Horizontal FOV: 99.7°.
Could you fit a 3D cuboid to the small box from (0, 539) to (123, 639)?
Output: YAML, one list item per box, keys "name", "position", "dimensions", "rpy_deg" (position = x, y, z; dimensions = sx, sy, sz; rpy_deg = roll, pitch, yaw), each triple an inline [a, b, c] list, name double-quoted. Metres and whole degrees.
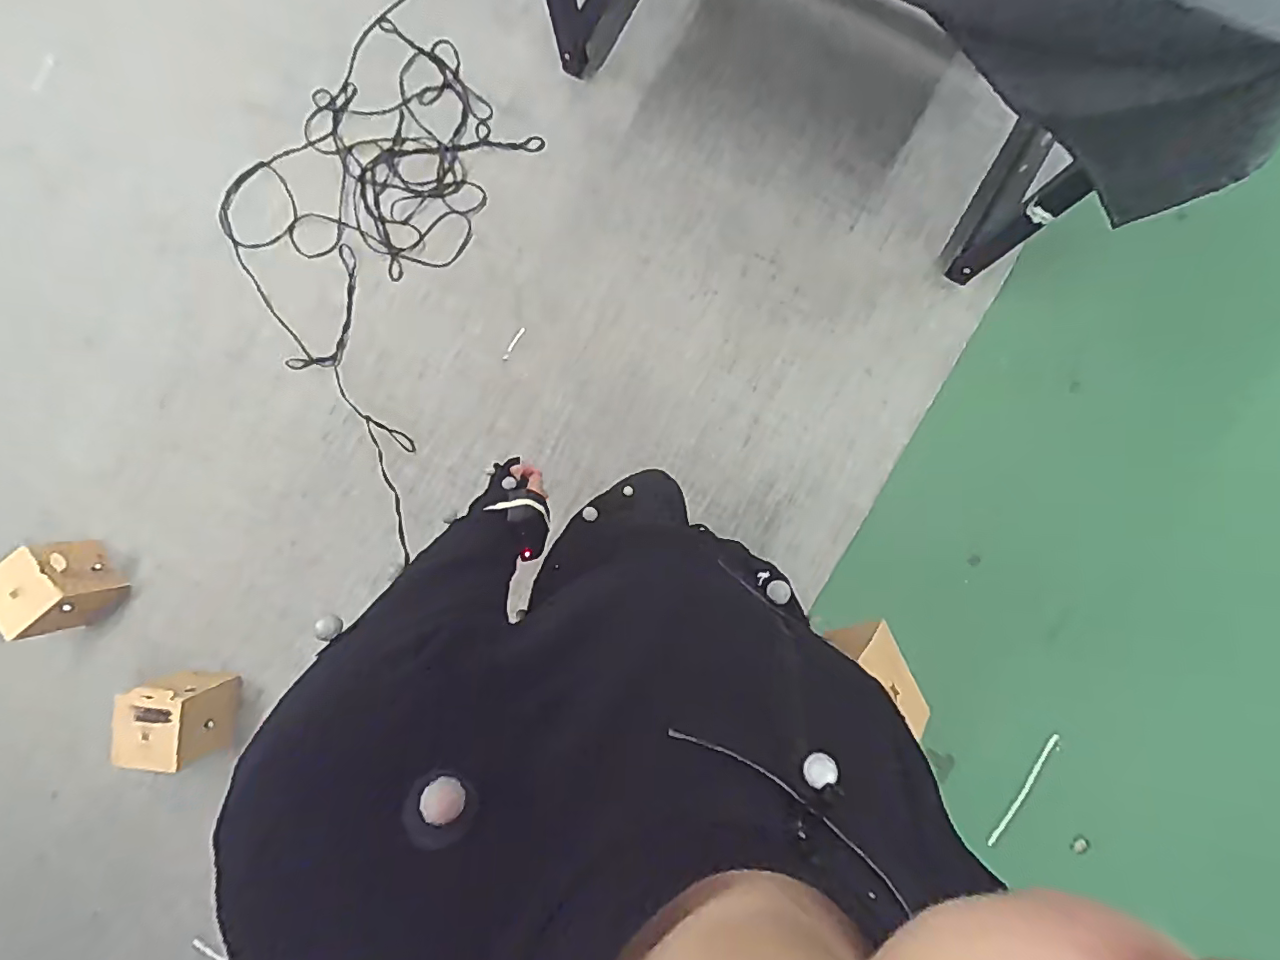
- name: "small box"
  position: [-1.477, 0.265, 1.355]
  dimensions: [0.179, 0.176, 0.168]
  rpy_deg: [-40, 87, 1]

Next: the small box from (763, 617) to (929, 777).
- name: "small box"
  position: [0.315, 0.339, 0.844]
  dimensions: [0.176, 0.179, 0.168]
  rpy_deg: [-28, 85, 39]
